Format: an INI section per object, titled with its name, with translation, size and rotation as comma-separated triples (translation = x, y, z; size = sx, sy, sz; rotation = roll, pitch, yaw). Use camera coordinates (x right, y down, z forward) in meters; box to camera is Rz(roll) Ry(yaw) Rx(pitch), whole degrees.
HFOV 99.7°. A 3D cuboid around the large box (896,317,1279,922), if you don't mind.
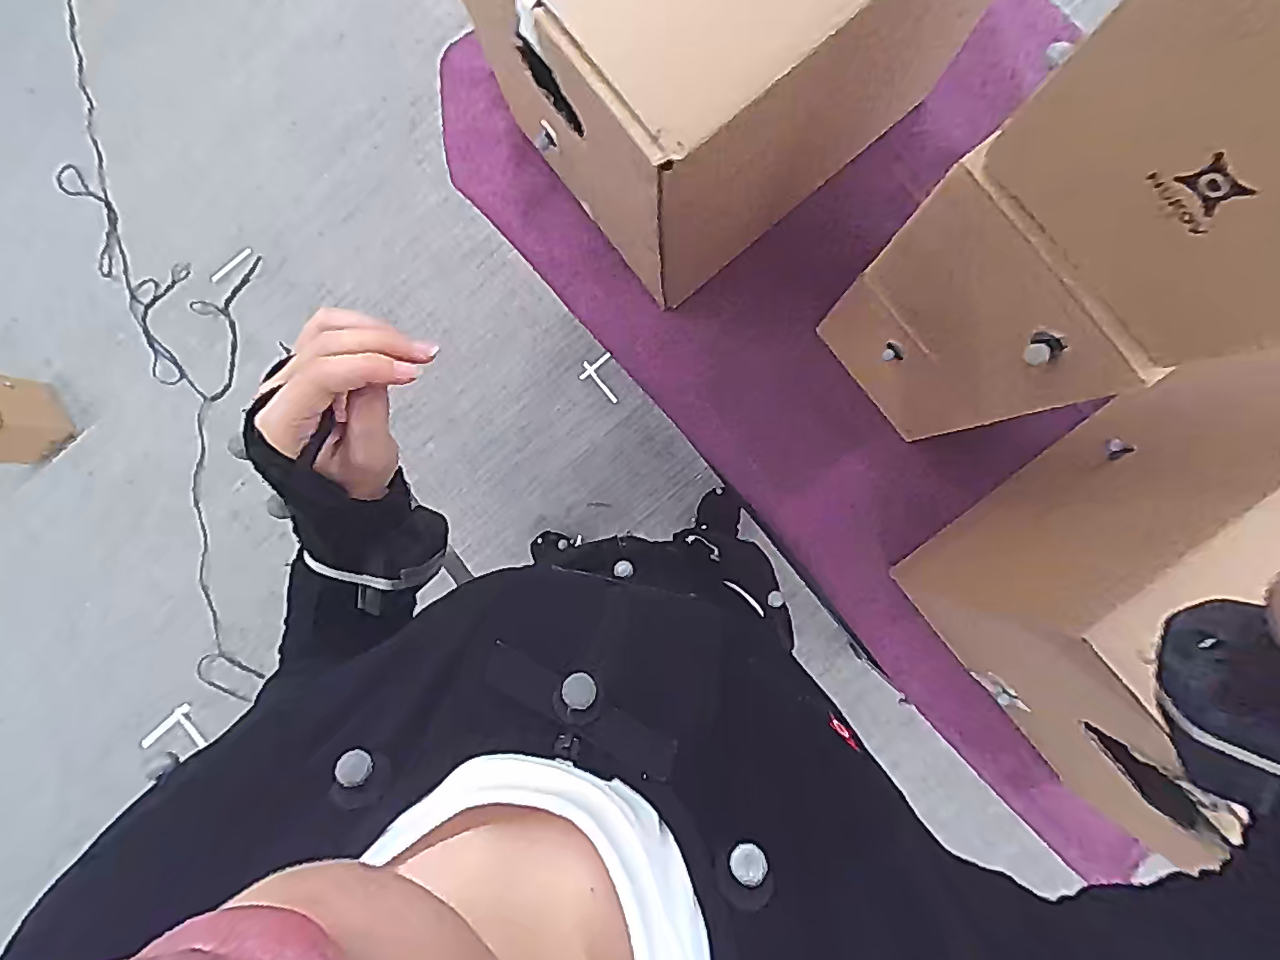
[large box]
translation = 0.527, 0.090, 0.465
size = 0.408, 0.320, 0.320
rotation = -39, 87, 1
